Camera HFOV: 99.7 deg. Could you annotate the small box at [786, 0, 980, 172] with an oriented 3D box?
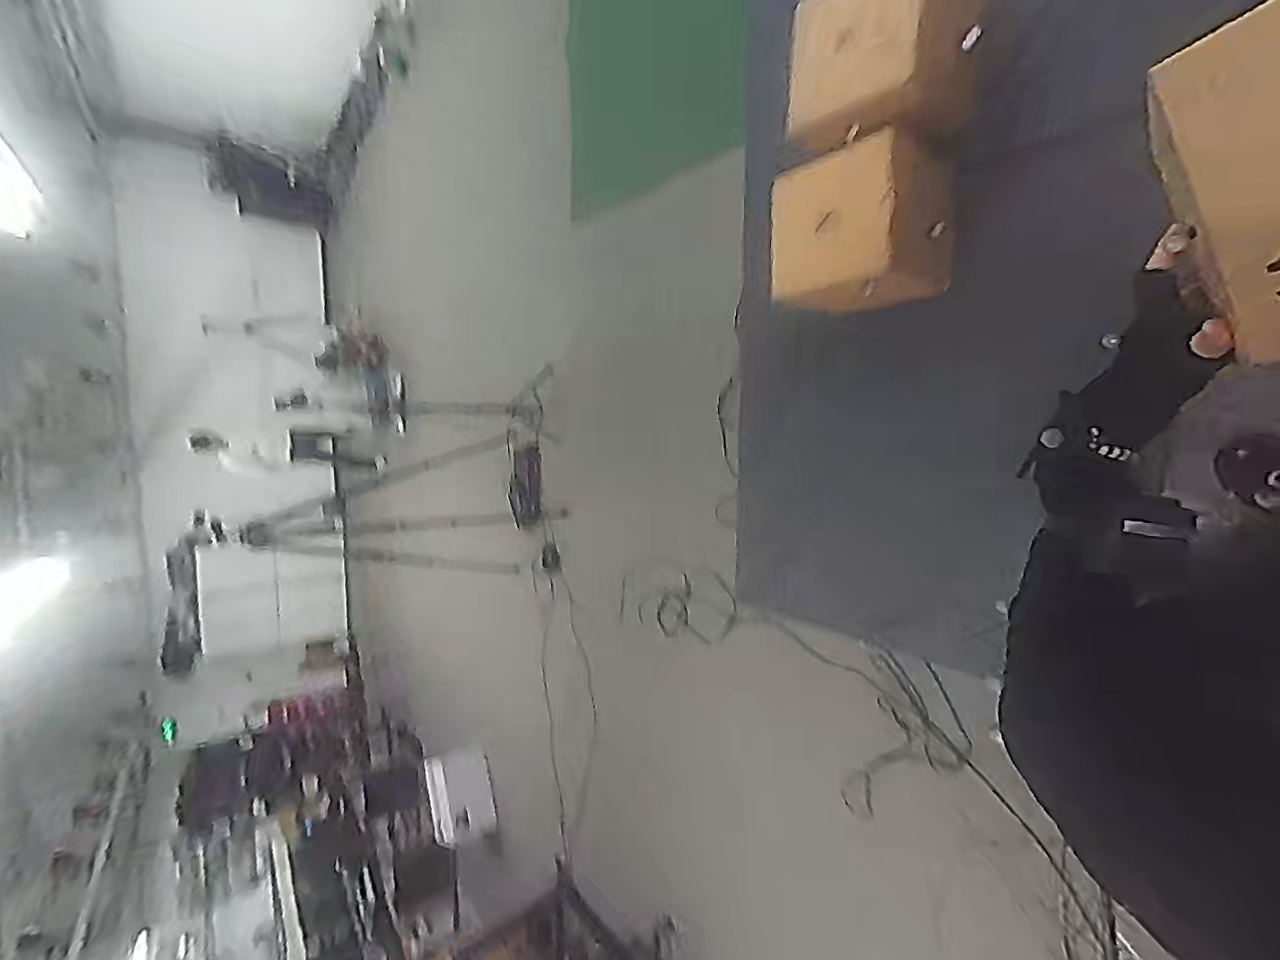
[{"bbox_3d":[0.324,-0.546,0.732,0.179,0.176,0.168,11,103,51],"label":"small box"}]
